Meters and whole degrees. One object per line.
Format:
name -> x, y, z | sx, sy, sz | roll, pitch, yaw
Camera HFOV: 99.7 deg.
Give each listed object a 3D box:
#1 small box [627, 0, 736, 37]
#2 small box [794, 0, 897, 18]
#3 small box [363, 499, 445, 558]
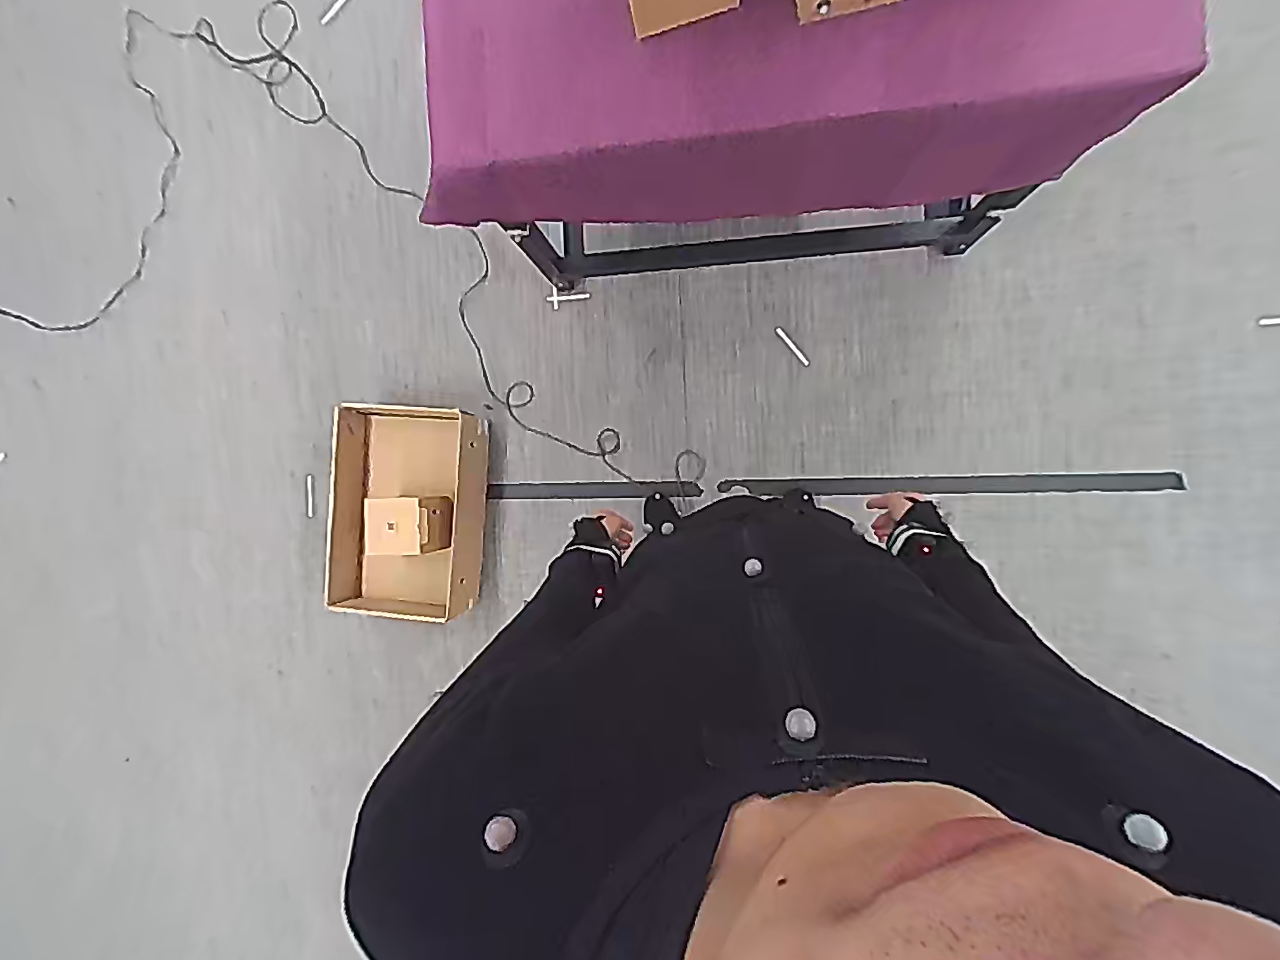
small box -> 0.050, -0.832, 0.822 | 0.179, 0.176, 0.168 | -12, 89, 7
small box -> 0.313, -0.826, 0.787 | 0.168, 0.176, 0.179 | -7, 89, 7
small box -> -0.698, 0.141, 1.616 | 0.179, 0.176, 0.168 | -1, 89, 8
